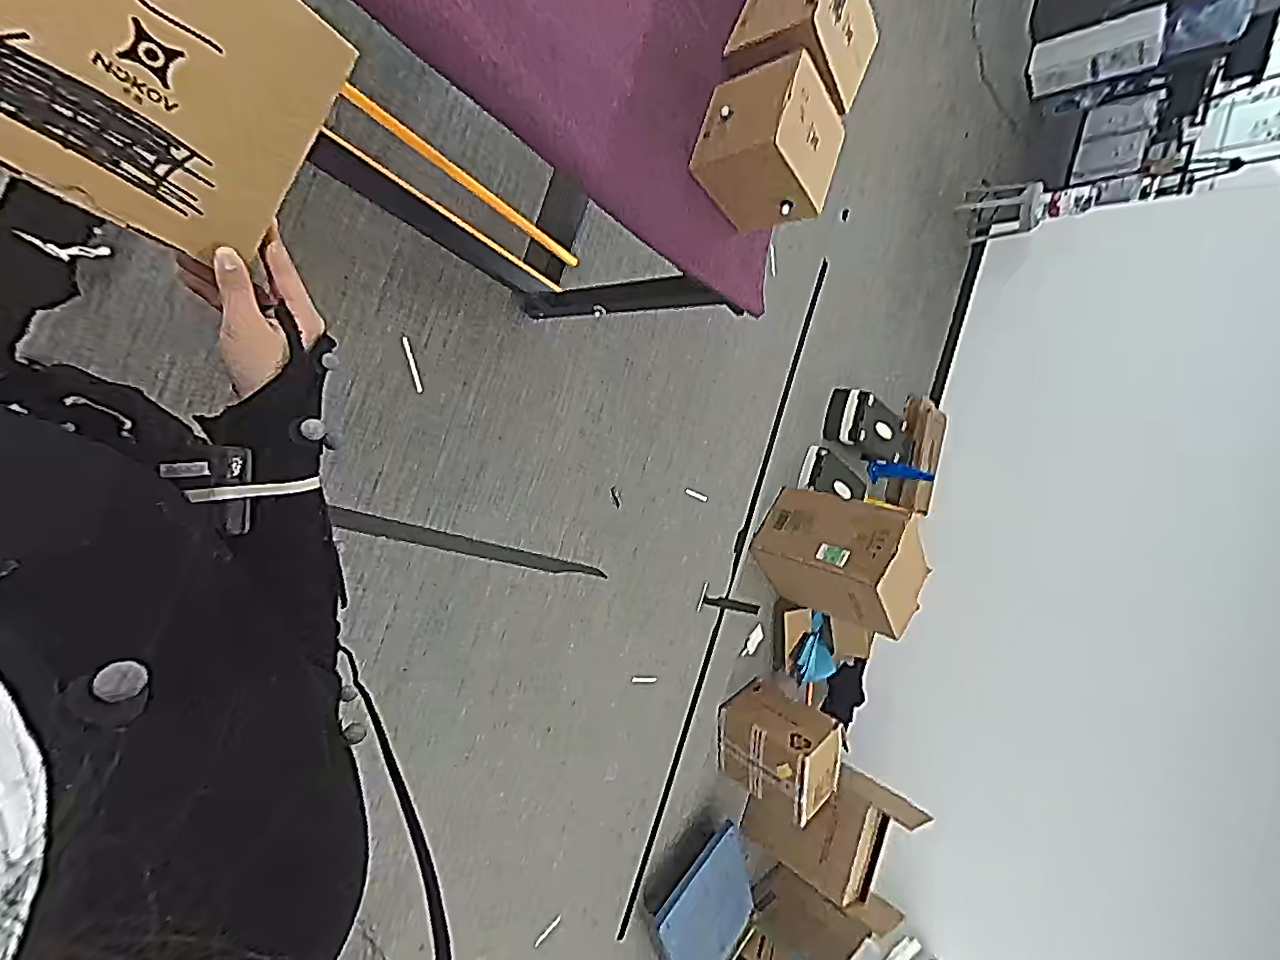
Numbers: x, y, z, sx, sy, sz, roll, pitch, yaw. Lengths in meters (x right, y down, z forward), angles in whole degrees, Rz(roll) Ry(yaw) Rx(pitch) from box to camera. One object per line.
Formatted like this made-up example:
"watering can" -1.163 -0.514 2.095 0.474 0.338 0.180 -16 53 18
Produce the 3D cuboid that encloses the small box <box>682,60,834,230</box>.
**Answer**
"small box" 0.204 -0.557 0.932 0.179 0.176 0.168 25 80 -46

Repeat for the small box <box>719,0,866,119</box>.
"small box" 0.266 -0.747 0.948 0.179 0.176 0.168 32 78 -47
